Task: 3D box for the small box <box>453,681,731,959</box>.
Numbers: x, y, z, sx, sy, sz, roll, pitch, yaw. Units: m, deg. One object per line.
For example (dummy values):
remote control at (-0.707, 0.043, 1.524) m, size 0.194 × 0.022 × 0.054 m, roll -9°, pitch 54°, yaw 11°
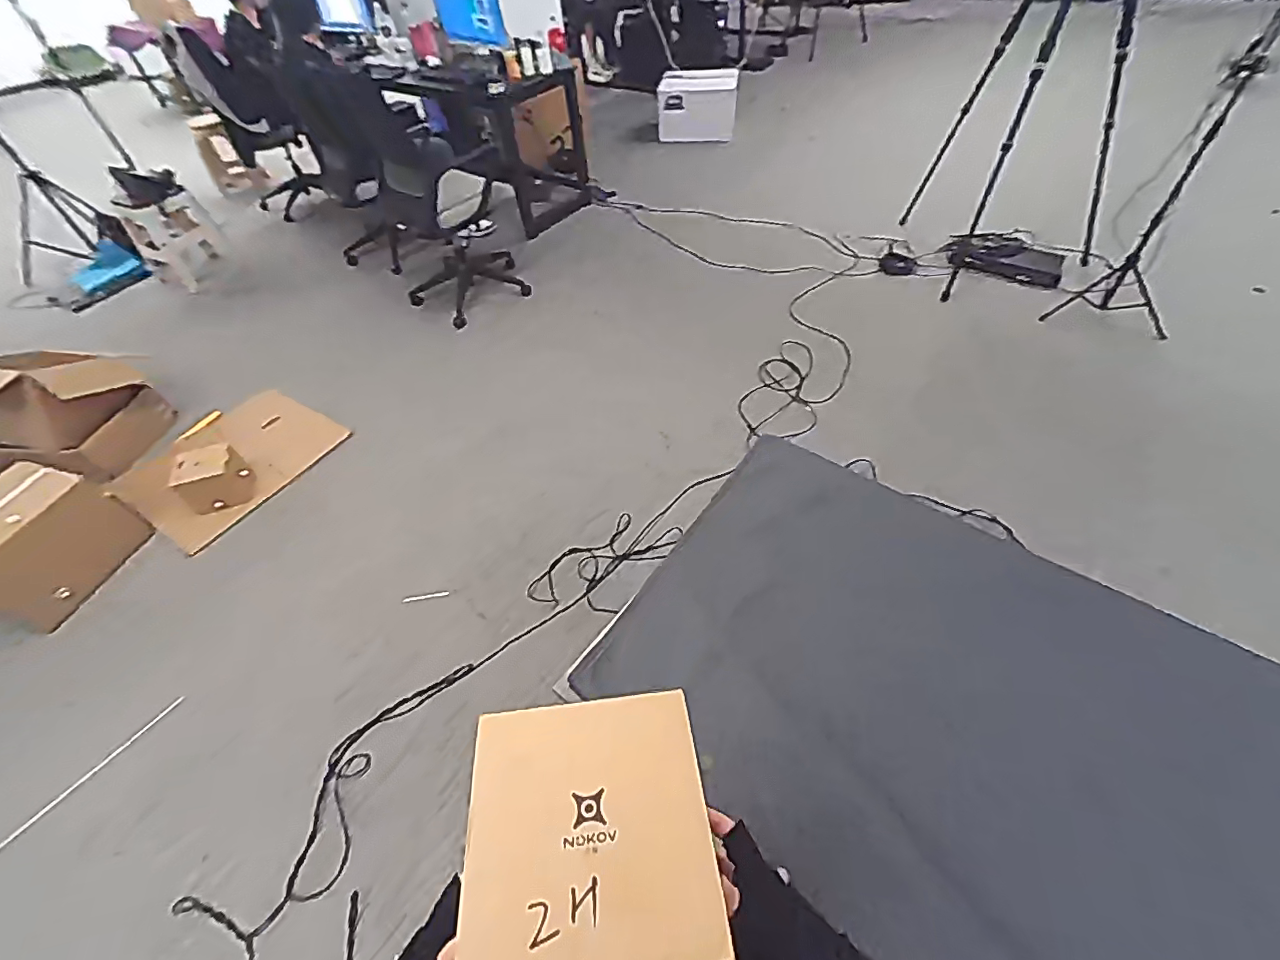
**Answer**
small box at (-0.035, 0.288, 0.426) m, size 0.168 × 0.176 × 0.179 m, roll -5°, pitch 42°, yaw -4°
